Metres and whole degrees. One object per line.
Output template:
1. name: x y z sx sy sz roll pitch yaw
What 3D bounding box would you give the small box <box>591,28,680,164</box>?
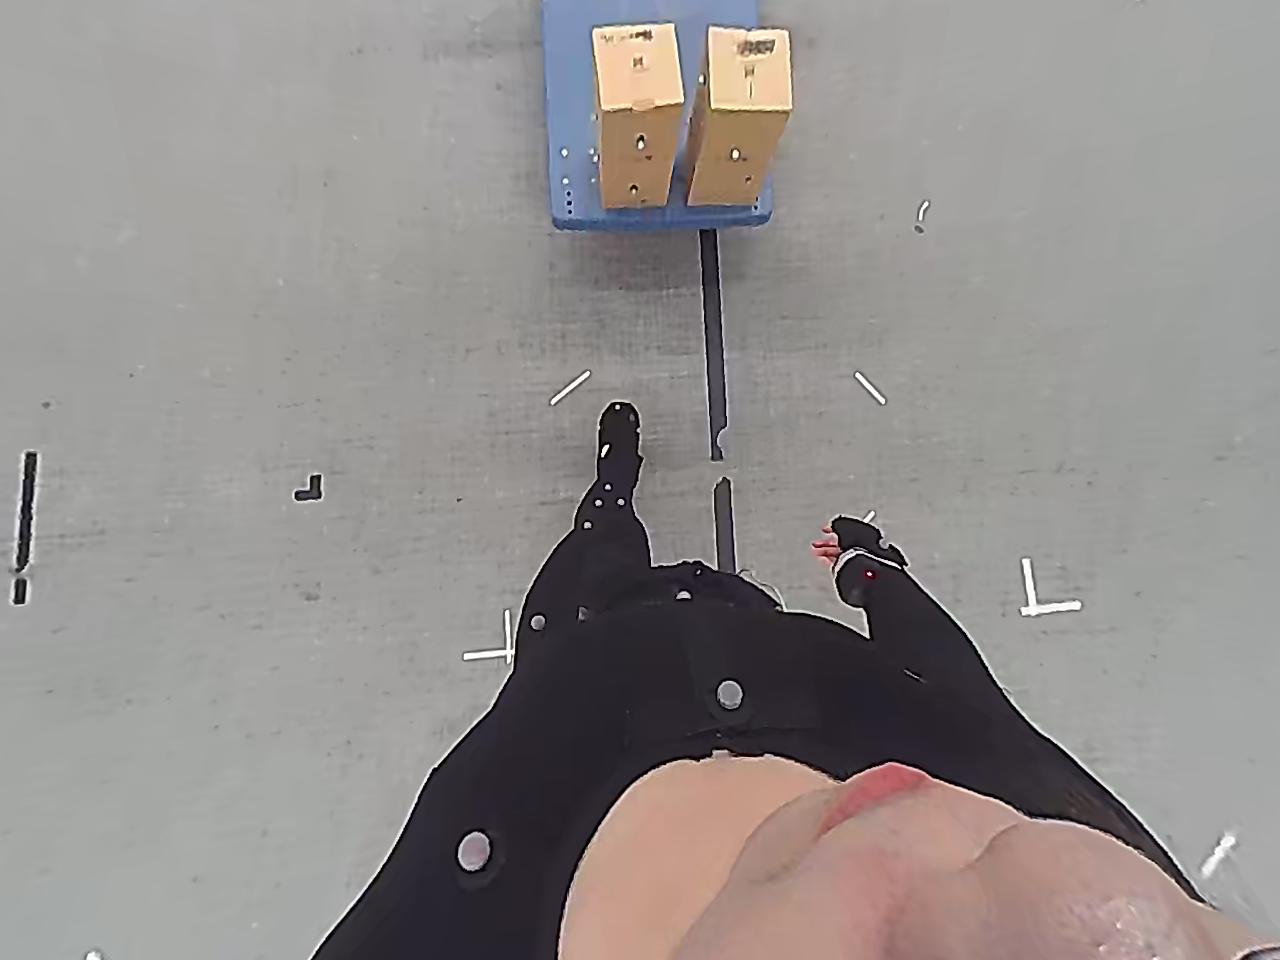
1. small box: -0.012 -0.796 1.140 0.168 0.176 0.179 -6 86 -4

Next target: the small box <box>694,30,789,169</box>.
1. small box: 0.208 -0.802 1.152 0.168 0.176 0.179 0 85 -4

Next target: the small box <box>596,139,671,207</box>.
1. small box: -0.020 -0.781 1.305 0.168 0.176 0.179 -4 84 -4
